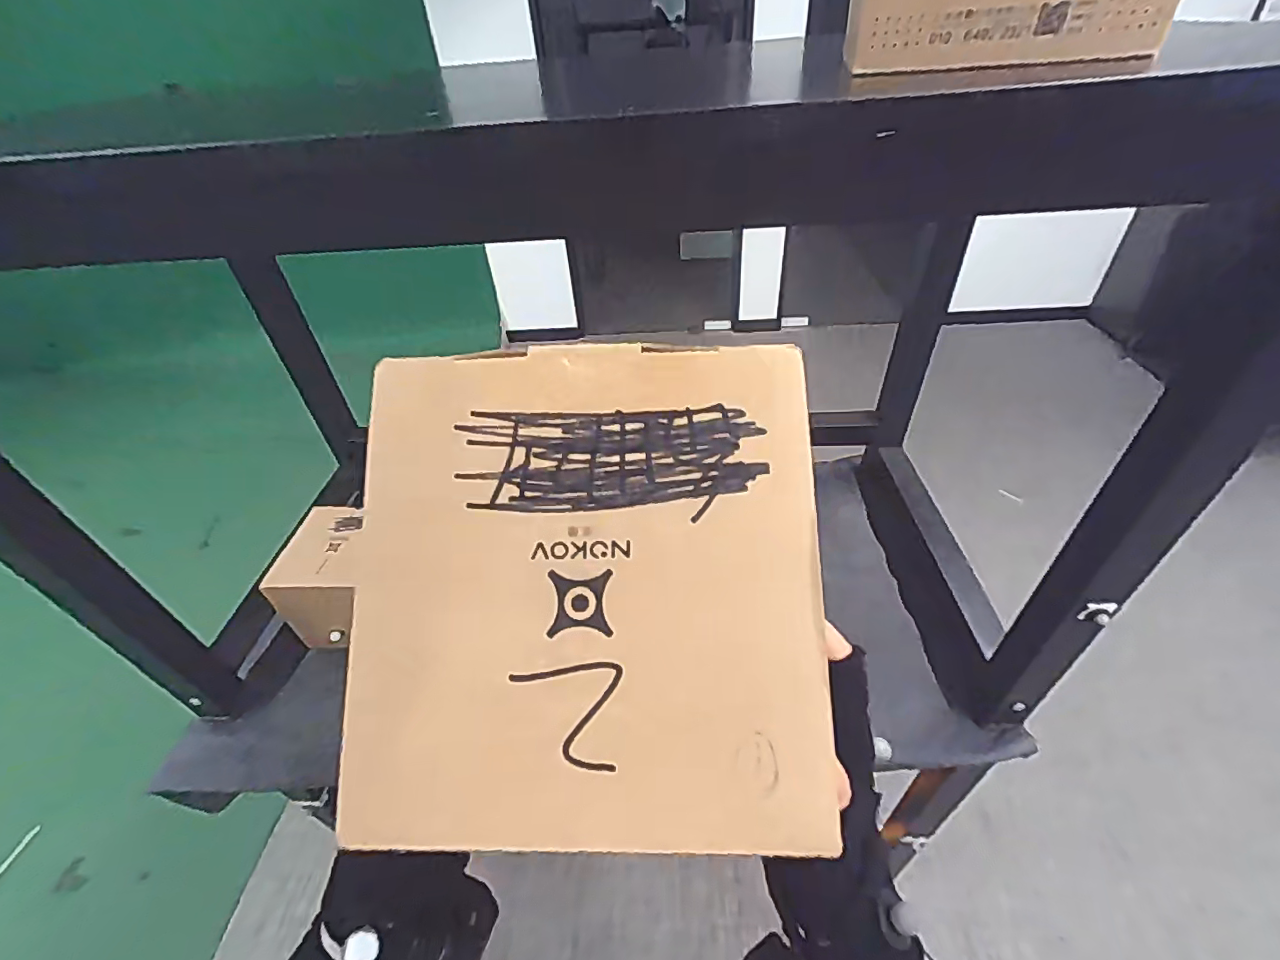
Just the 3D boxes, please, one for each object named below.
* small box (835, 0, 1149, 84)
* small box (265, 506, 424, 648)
[{"bbox_3d":[0.226,-0.365,0.347,0.168,0.176,0.179,6,41,13],"label":"small box"},{"bbox_3d":[-0.480,0.164,0.925,0.168,0.176,0.179,-1,41,4],"label":"small box"}]
